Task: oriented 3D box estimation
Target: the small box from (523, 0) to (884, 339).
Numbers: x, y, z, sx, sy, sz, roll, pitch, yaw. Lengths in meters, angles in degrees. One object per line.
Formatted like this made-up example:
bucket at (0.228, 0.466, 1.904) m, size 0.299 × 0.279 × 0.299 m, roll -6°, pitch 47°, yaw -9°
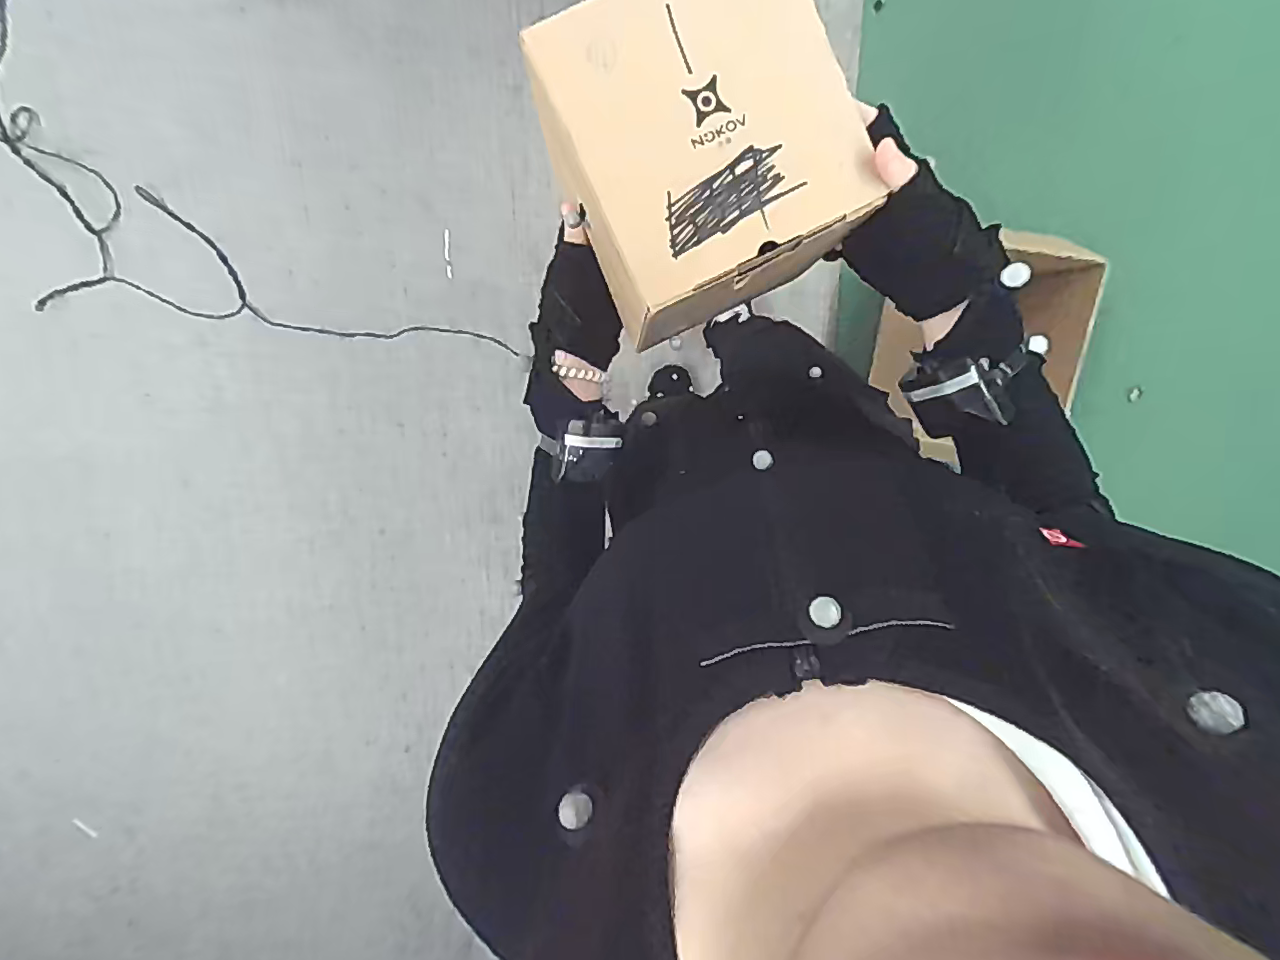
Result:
small box at (0.037, -0.219, 0.399) m, size 0.168 × 0.176 × 0.179 m, roll -26°, pitch 94°, yaw -1°
